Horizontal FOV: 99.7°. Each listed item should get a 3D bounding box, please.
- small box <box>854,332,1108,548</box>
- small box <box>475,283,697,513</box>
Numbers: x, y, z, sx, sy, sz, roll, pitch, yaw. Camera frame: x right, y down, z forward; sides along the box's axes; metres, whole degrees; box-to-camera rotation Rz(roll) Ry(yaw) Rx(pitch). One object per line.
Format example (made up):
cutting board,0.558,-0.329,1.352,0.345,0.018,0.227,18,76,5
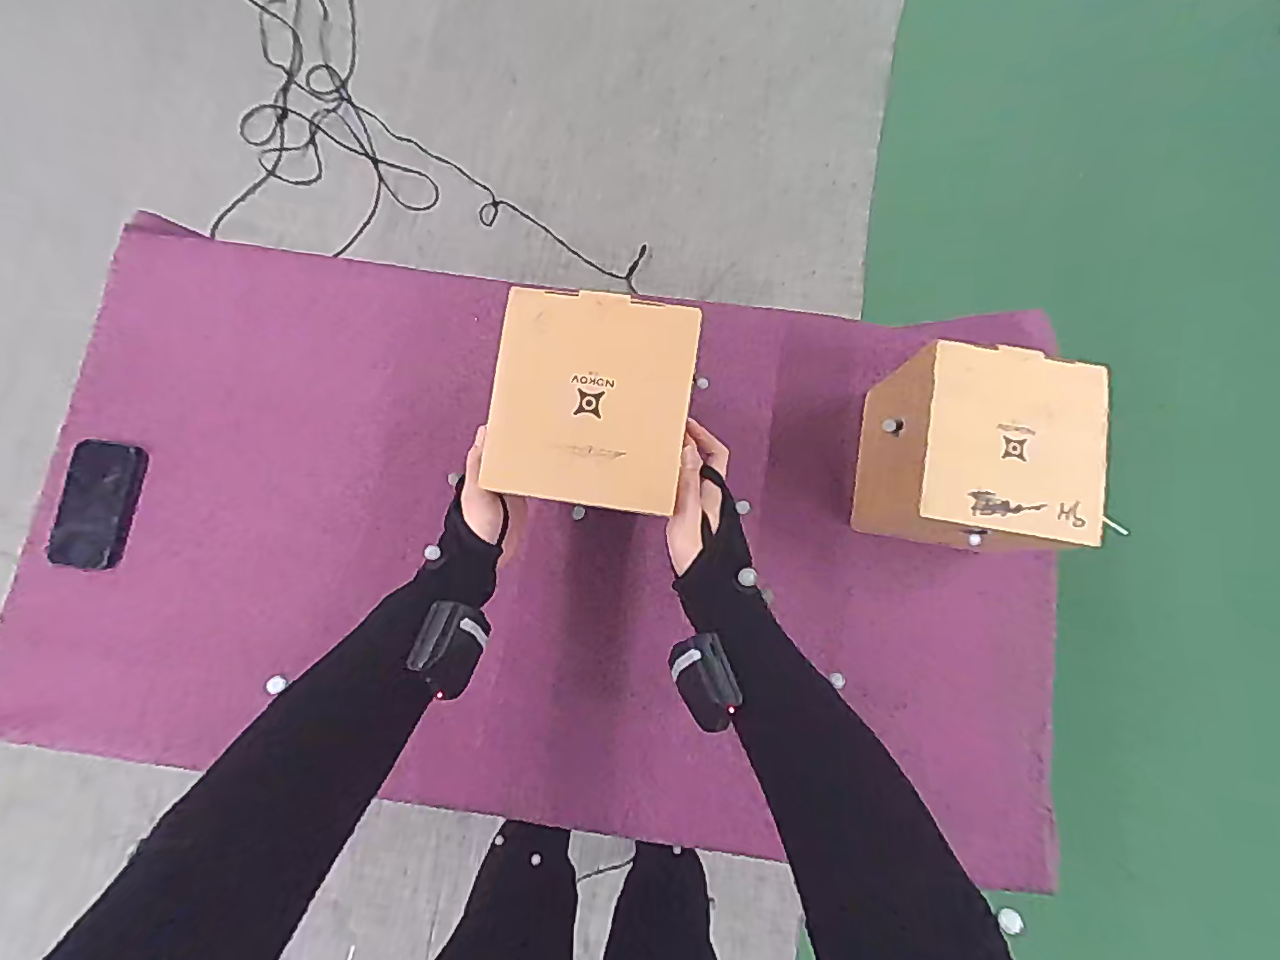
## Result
small box,0.344,-0.030,0.574,0.168,0.176,0.179,9,81,3
small box,-0.040,-0.066,0.527,0.168,0.176,0.179,8,88,5
